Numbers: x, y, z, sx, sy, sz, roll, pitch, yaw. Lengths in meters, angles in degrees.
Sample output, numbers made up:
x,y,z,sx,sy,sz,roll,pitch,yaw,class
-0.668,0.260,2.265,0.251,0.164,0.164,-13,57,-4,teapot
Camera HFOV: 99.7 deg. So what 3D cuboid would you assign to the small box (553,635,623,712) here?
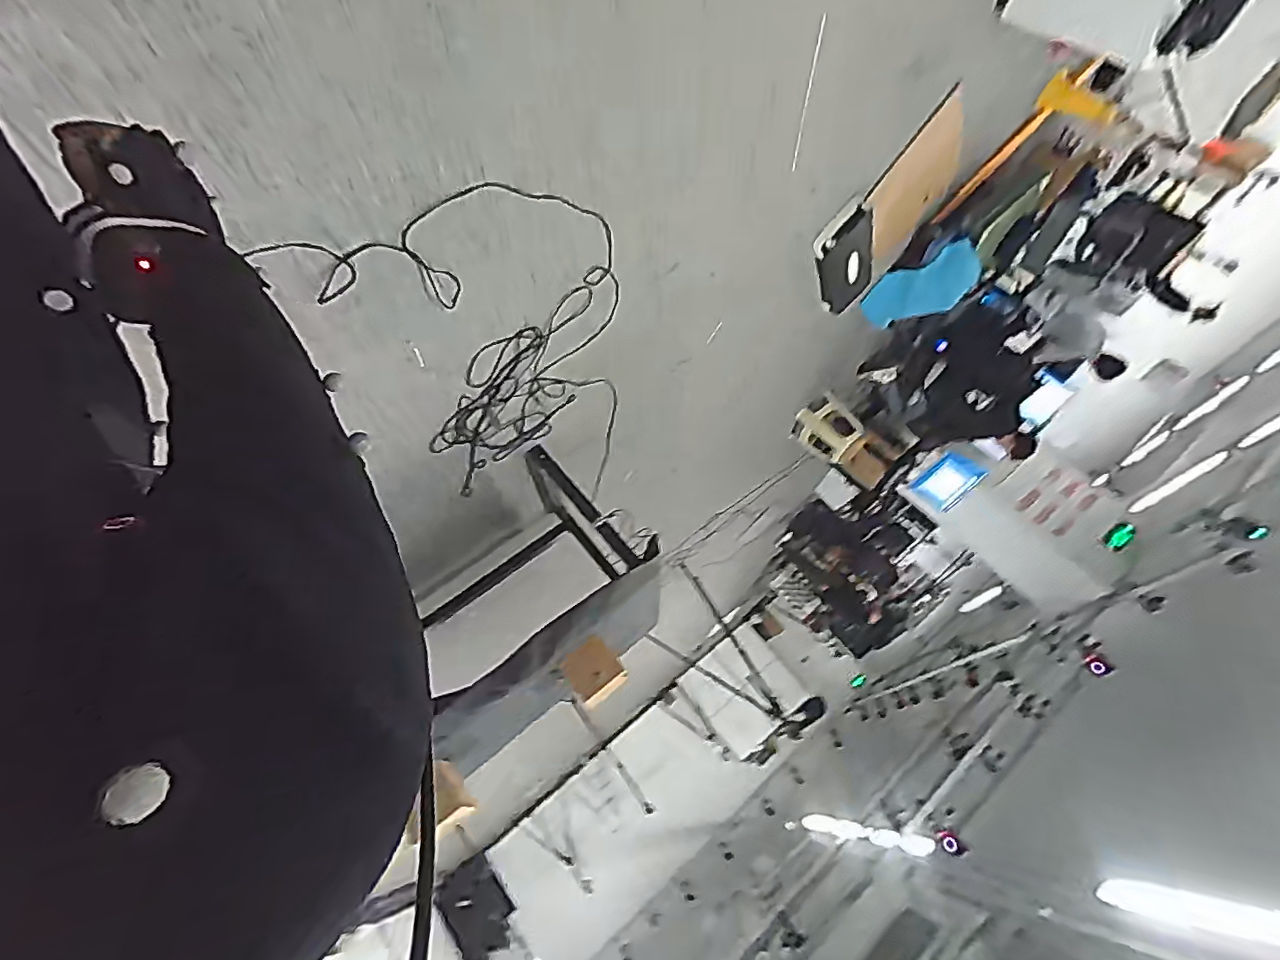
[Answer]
x,y,z,sx,sy,sz,roll,pitch,yaw,class
-0.178,0.672,1.887,0.179,0.176,0.168,-35,154,-18,small box
